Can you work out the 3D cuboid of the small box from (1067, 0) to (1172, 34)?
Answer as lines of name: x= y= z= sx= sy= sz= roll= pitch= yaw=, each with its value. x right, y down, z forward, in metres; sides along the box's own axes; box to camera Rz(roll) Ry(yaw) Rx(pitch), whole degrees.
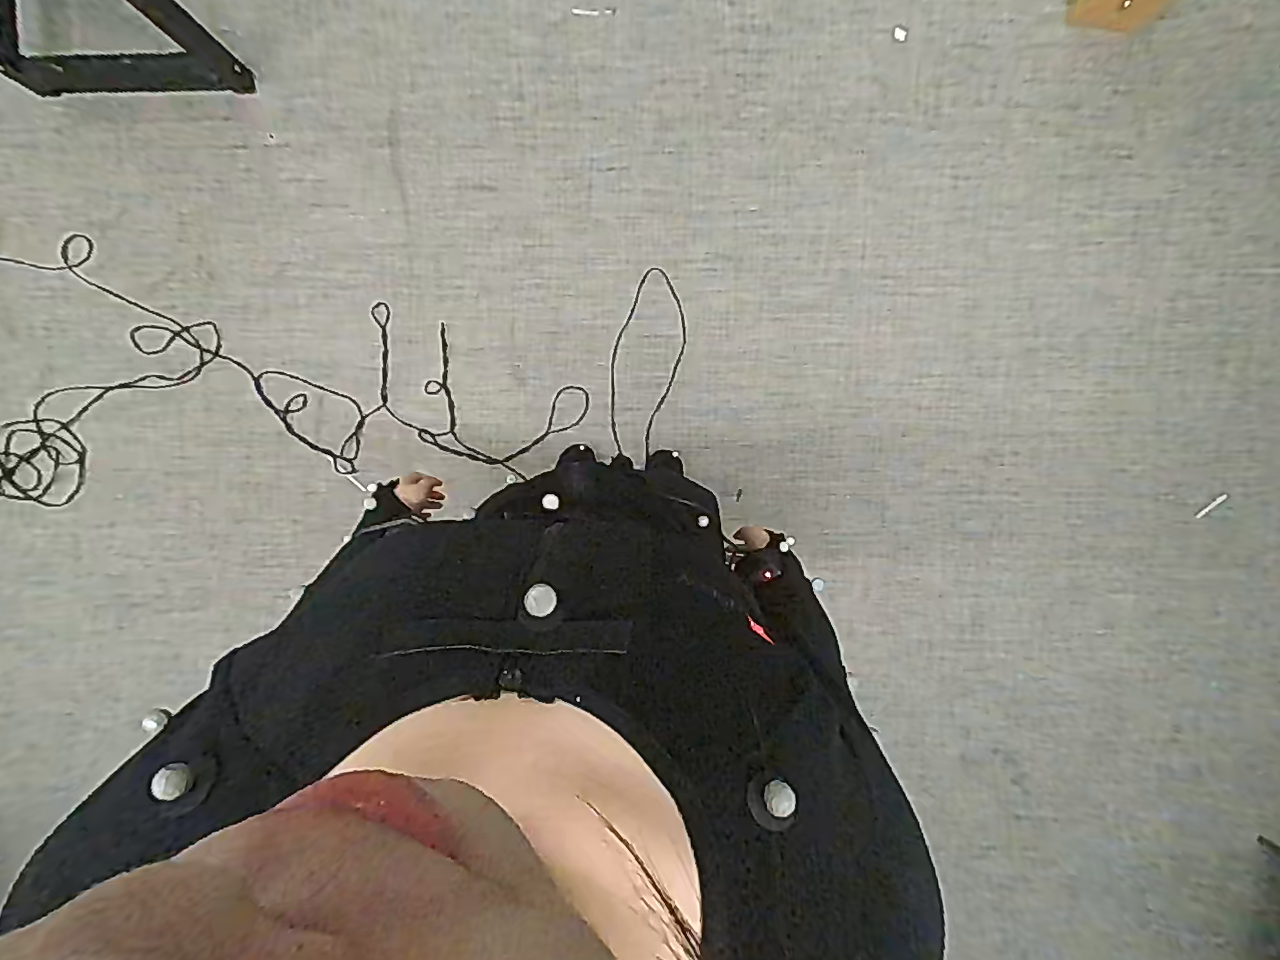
small box: x=1.204 y=-1.238 z=1.316 sx=0.179 sy=0.176 sz=0.168 roll=10 pitch=94 yaw=0
